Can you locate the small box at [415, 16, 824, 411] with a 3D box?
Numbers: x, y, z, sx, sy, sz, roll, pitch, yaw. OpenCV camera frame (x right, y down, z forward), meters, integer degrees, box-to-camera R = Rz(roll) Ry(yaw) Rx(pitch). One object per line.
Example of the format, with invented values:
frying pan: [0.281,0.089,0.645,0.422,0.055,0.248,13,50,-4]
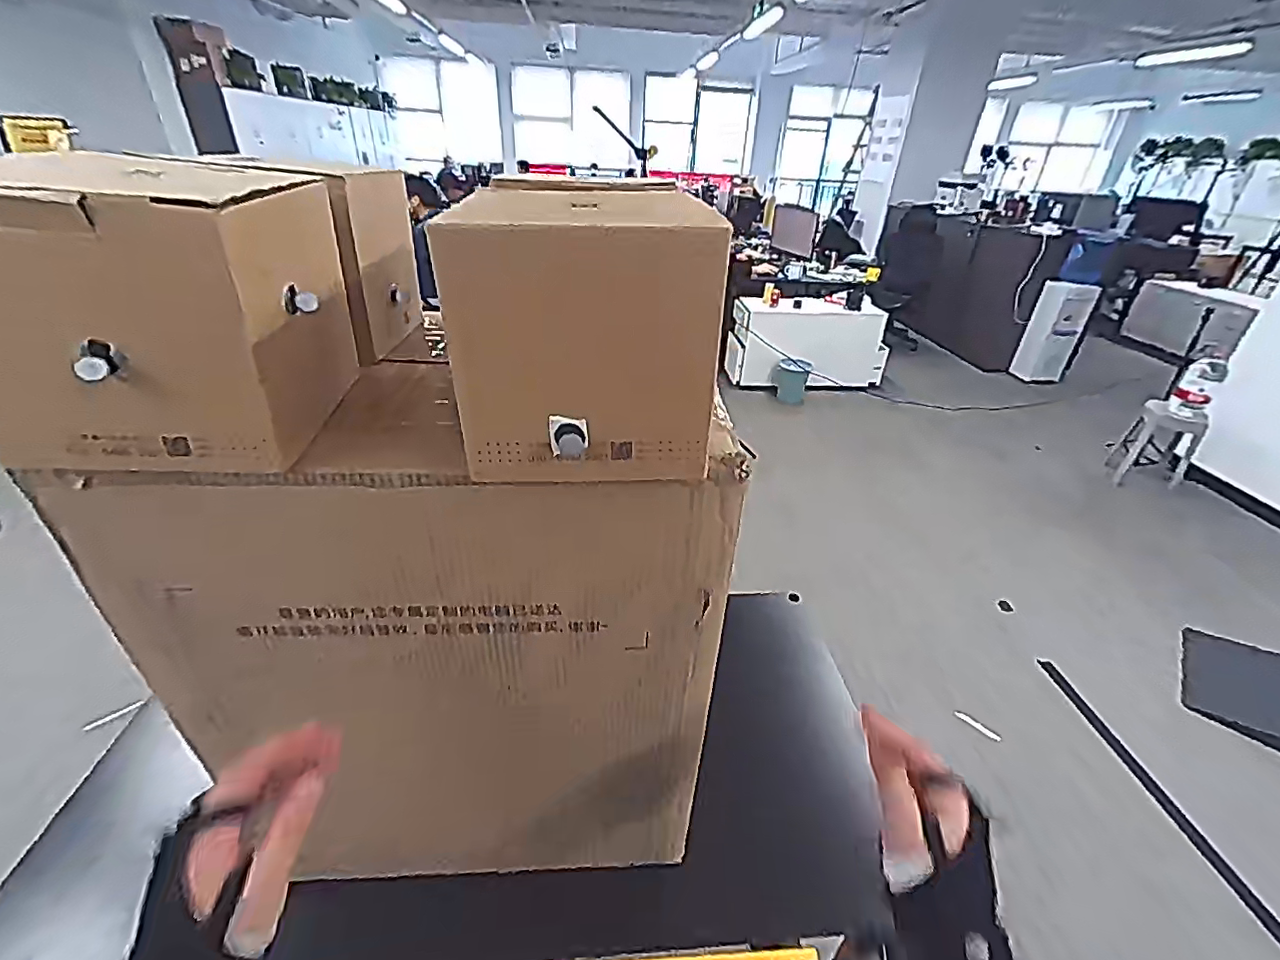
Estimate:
small box: [-0.015,-0.153,0.325,0.168,0.176,0.179,-3,34,-5]

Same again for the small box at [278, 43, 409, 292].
small box: [-0.324,-0.267,0.472,0.179,0.176,0.168,2,31,-5]
